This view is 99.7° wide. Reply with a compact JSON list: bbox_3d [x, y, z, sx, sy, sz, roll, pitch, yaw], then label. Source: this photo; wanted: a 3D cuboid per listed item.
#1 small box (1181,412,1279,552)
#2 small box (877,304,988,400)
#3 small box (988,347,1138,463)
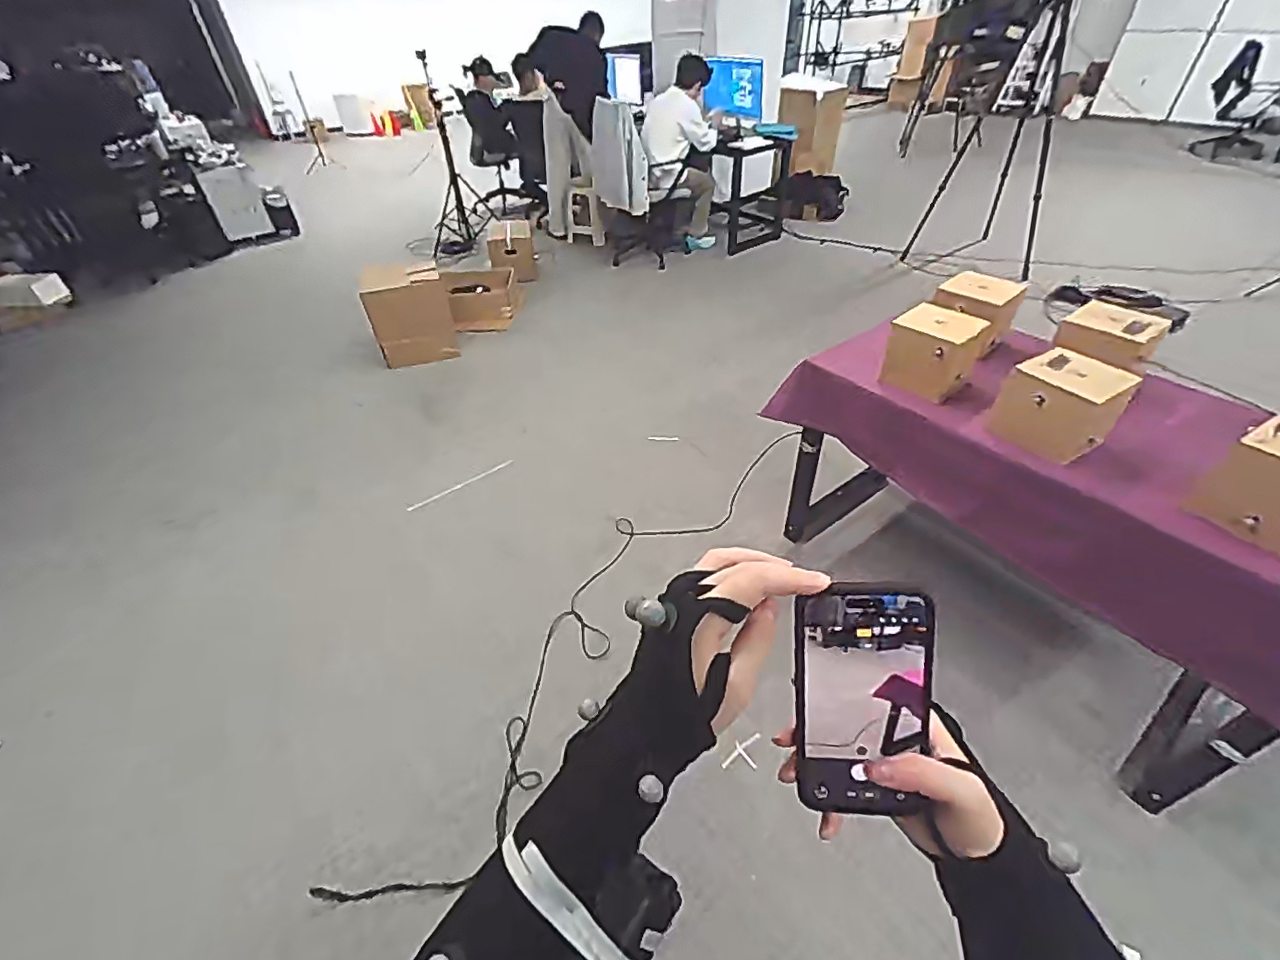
[{"bbox_3d":[1.166,0.009,0.979,0.168,0.176,0.179,-22,45,-20],"label":"small box"},{"bbox_3d":[0.745,-0.330,1.396,0.168,0.176,0.179,-32,50,-29],"label":"small box"},{"bbox_3d":[0.919,-0.165,1.195,0.168,0.176,0.179,-23,46,-21],"label":"small box"}]
